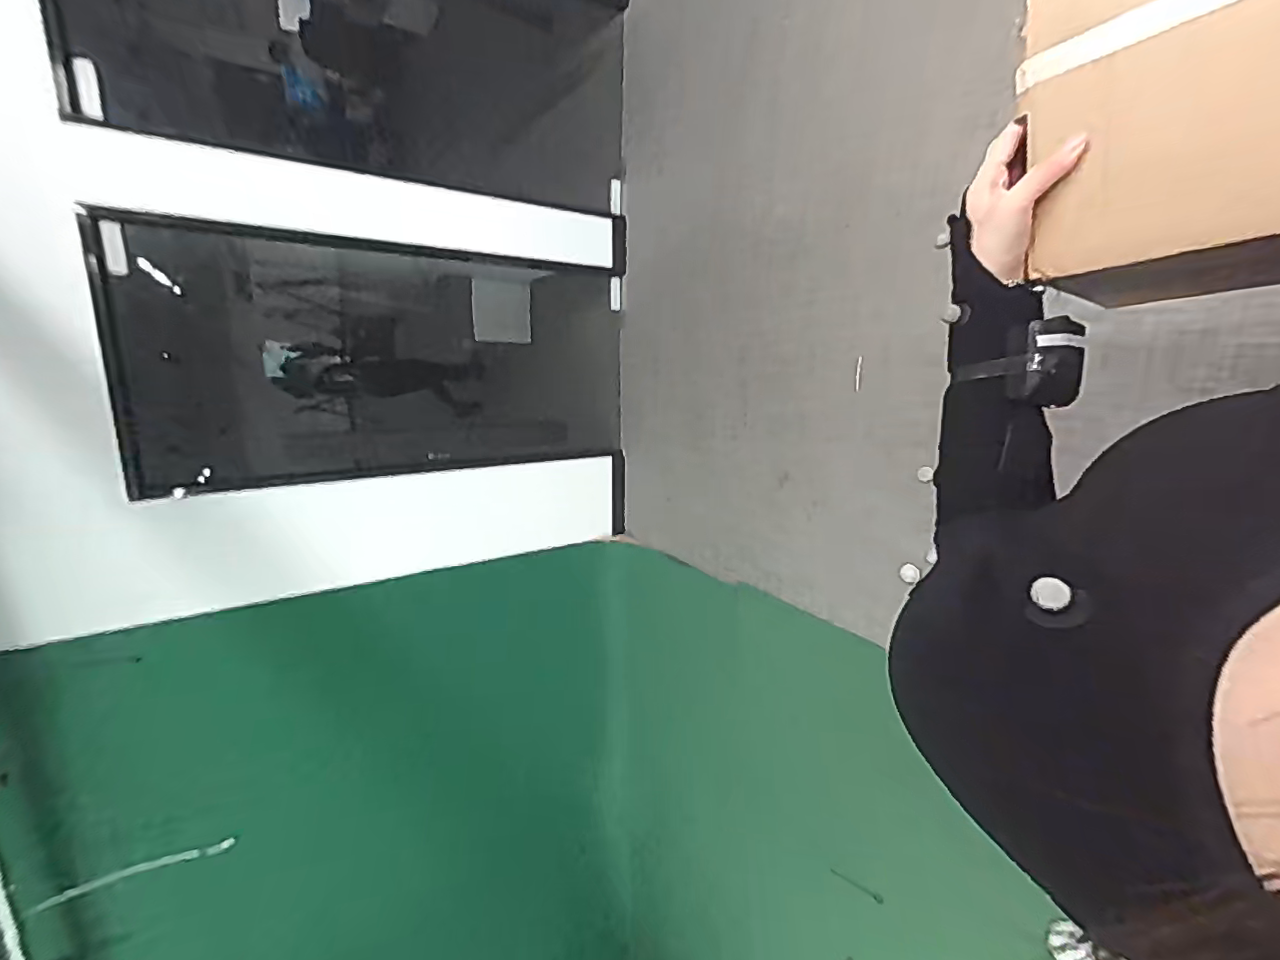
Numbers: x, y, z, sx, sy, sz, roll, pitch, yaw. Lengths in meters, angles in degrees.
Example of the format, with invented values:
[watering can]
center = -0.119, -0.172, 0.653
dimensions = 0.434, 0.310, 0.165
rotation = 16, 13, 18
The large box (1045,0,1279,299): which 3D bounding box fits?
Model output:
[large box]
center = 0.550, -0.334, 0.364
dimensions = 0.408, 0.320, 0.320
rotation = 3, 100, 48
